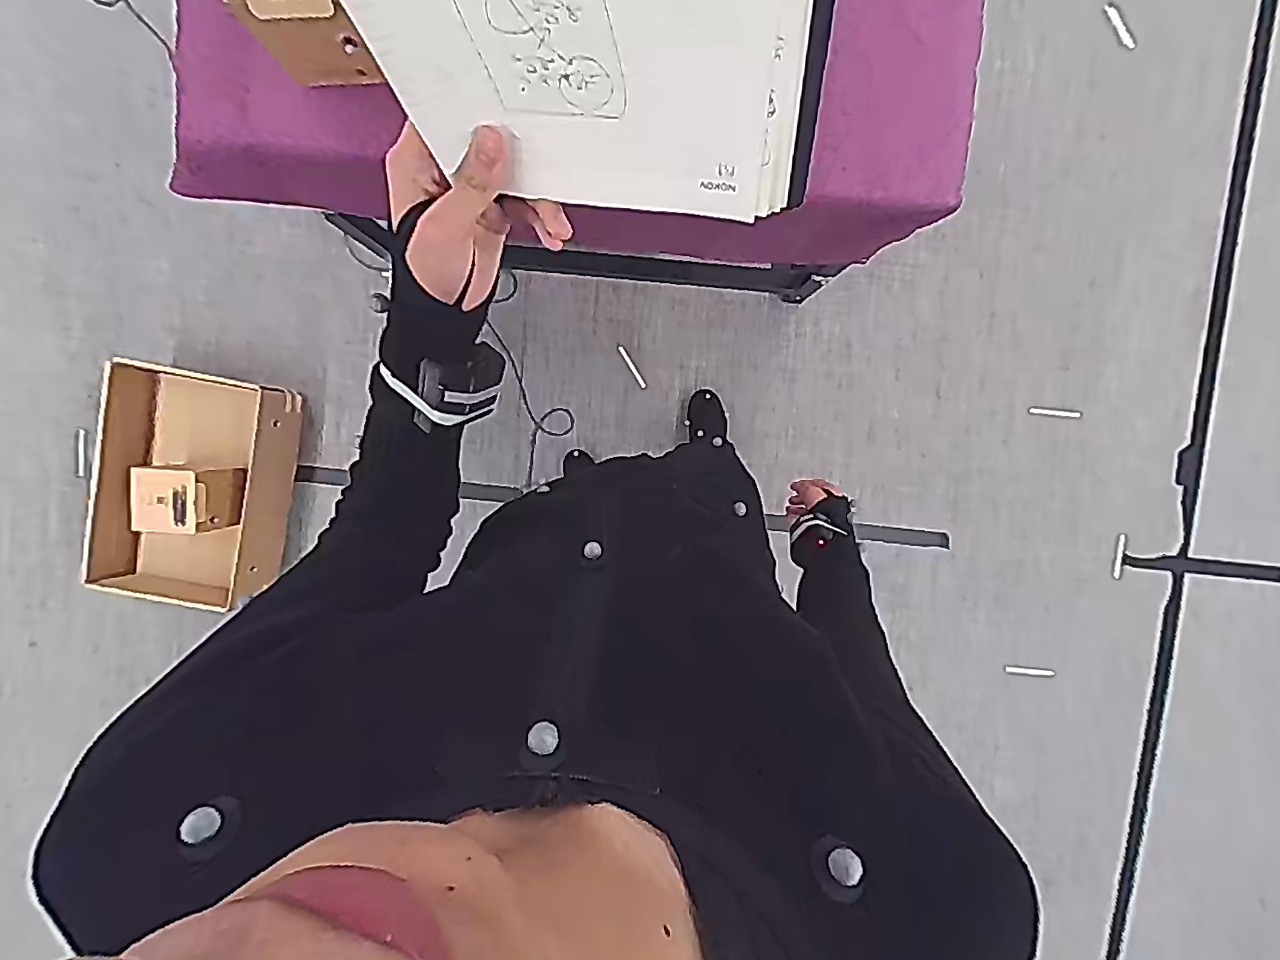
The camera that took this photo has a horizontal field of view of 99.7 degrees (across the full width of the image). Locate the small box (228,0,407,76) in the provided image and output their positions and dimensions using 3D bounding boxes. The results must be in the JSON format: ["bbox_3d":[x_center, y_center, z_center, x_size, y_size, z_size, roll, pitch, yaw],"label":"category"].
[{"bbox_3d":[-0.432,-0.685,0.732,0.168,0.176,0.179,-3,95,-1],"label":"small box"}]
